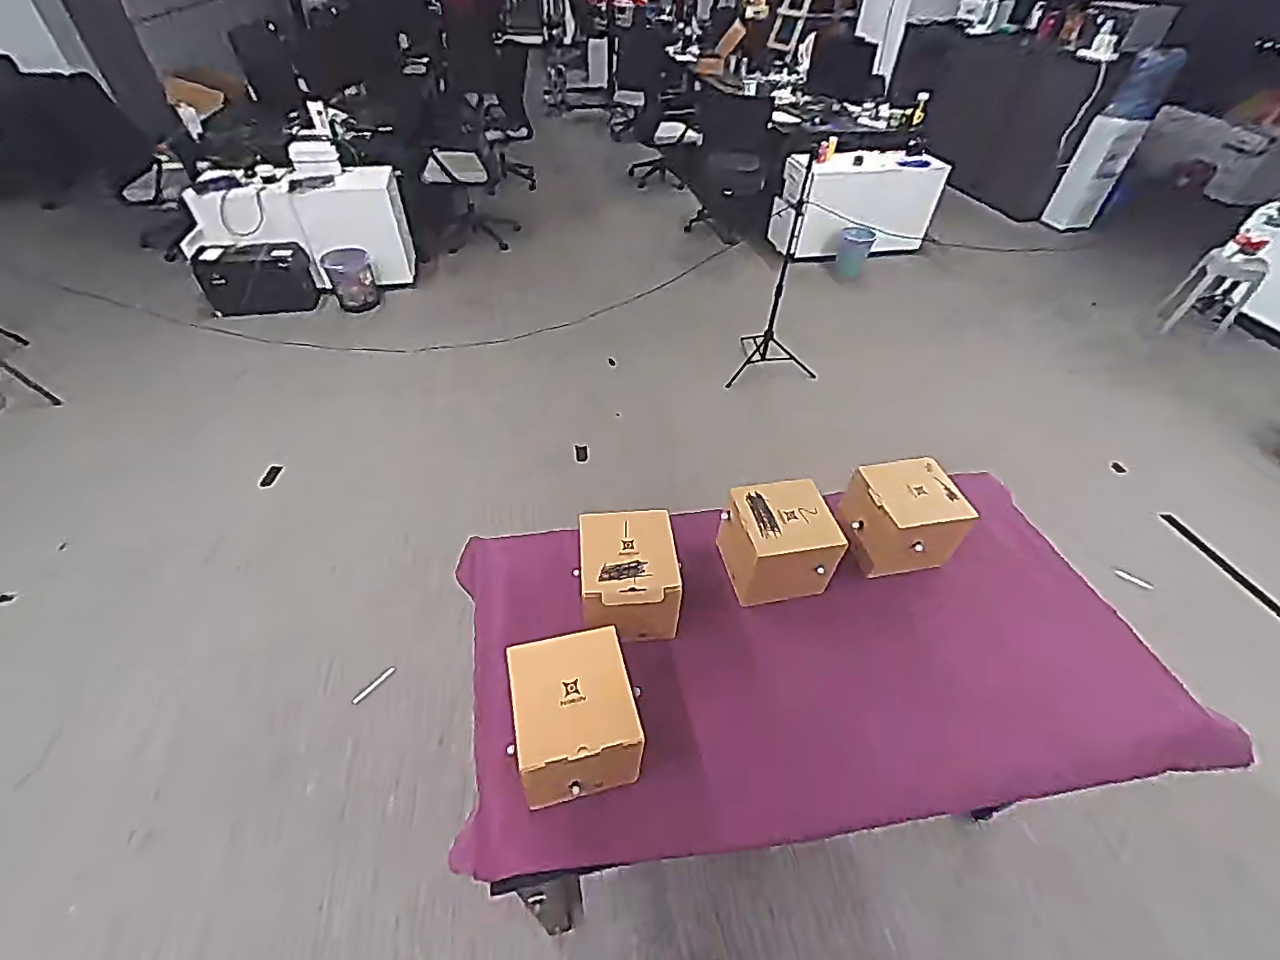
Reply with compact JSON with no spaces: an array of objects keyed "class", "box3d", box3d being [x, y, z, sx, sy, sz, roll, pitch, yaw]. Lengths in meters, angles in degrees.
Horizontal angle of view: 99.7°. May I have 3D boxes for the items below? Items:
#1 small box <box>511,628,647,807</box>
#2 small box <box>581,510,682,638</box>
[{"class":"small box","box3d":[-0.097,0.352,0.808,0.168,0.176,0.179,-9,47,-14]},{"class":"small box","box3d":[-0.020,0.178,0.988,0.168,0.176,0.179,-3,46,-6]}]
